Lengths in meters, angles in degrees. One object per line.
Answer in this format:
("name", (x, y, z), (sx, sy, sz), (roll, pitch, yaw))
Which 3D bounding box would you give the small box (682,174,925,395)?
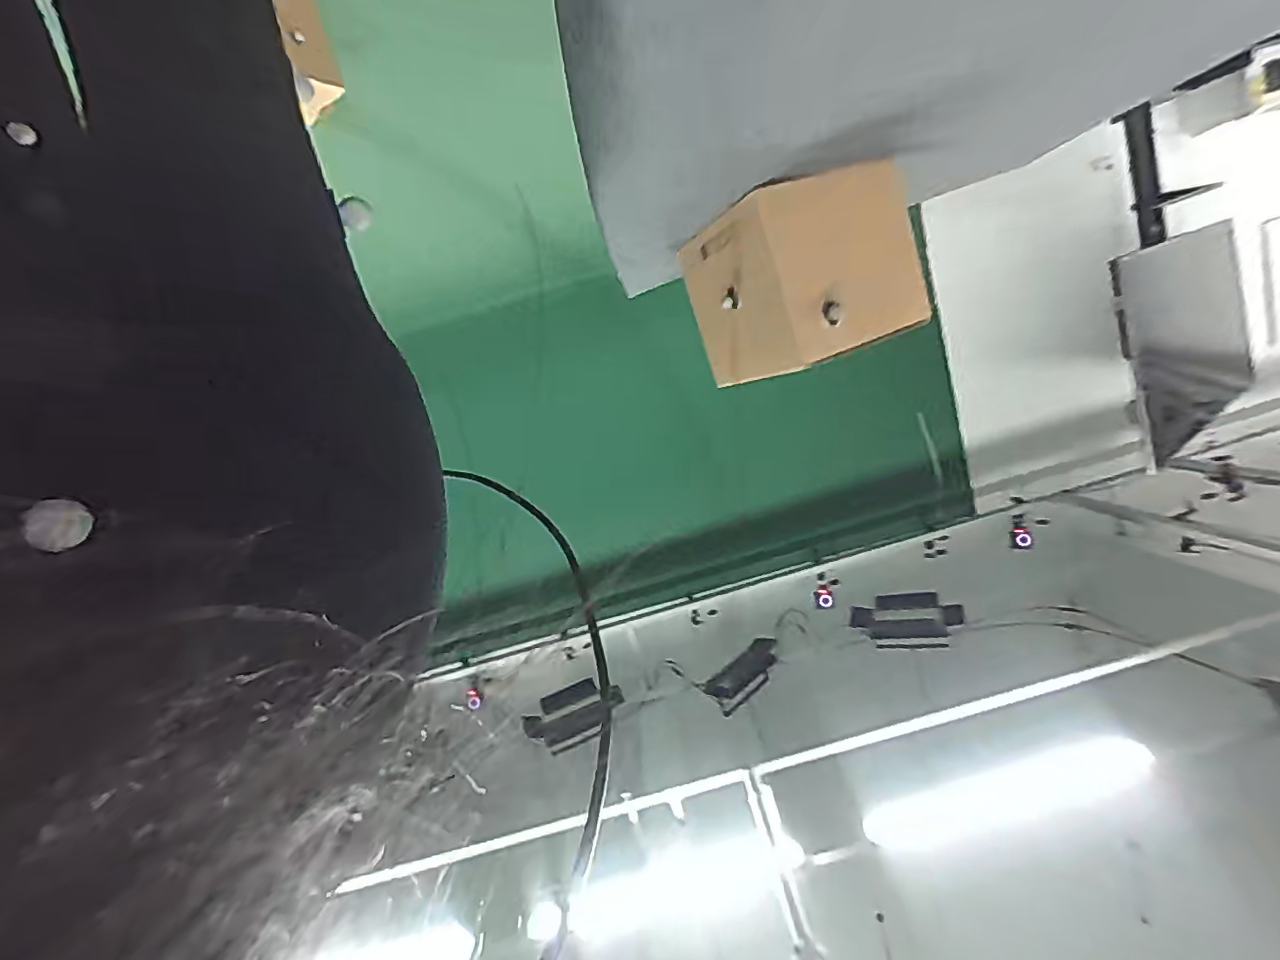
("small box", (0.169, -0.206, 0.595), (0.179, 0.176, 0.168), (-22, -168, -19))

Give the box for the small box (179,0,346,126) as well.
("small box", (-0.704, -0.808, 1.014), (0.168, 0.176, 0.179), (-10, -167, 33))
